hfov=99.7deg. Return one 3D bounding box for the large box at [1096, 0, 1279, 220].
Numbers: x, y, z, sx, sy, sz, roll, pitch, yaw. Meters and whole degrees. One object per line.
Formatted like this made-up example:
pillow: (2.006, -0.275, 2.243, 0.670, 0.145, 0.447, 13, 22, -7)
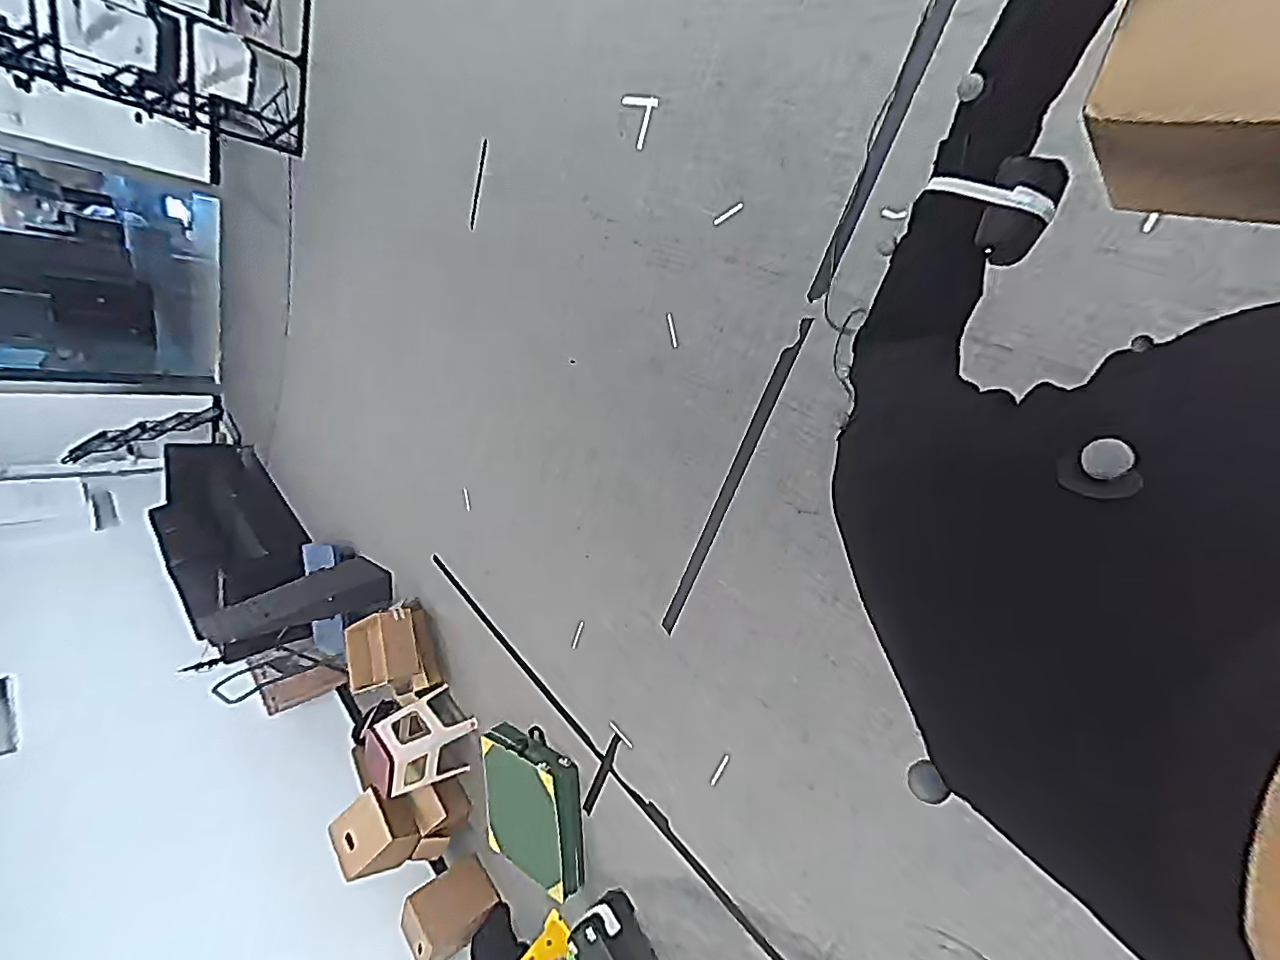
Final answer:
large box: (0.560, -0.322, 0.287, 0.408, 0.320, 0.320, 29, 119, 35)
